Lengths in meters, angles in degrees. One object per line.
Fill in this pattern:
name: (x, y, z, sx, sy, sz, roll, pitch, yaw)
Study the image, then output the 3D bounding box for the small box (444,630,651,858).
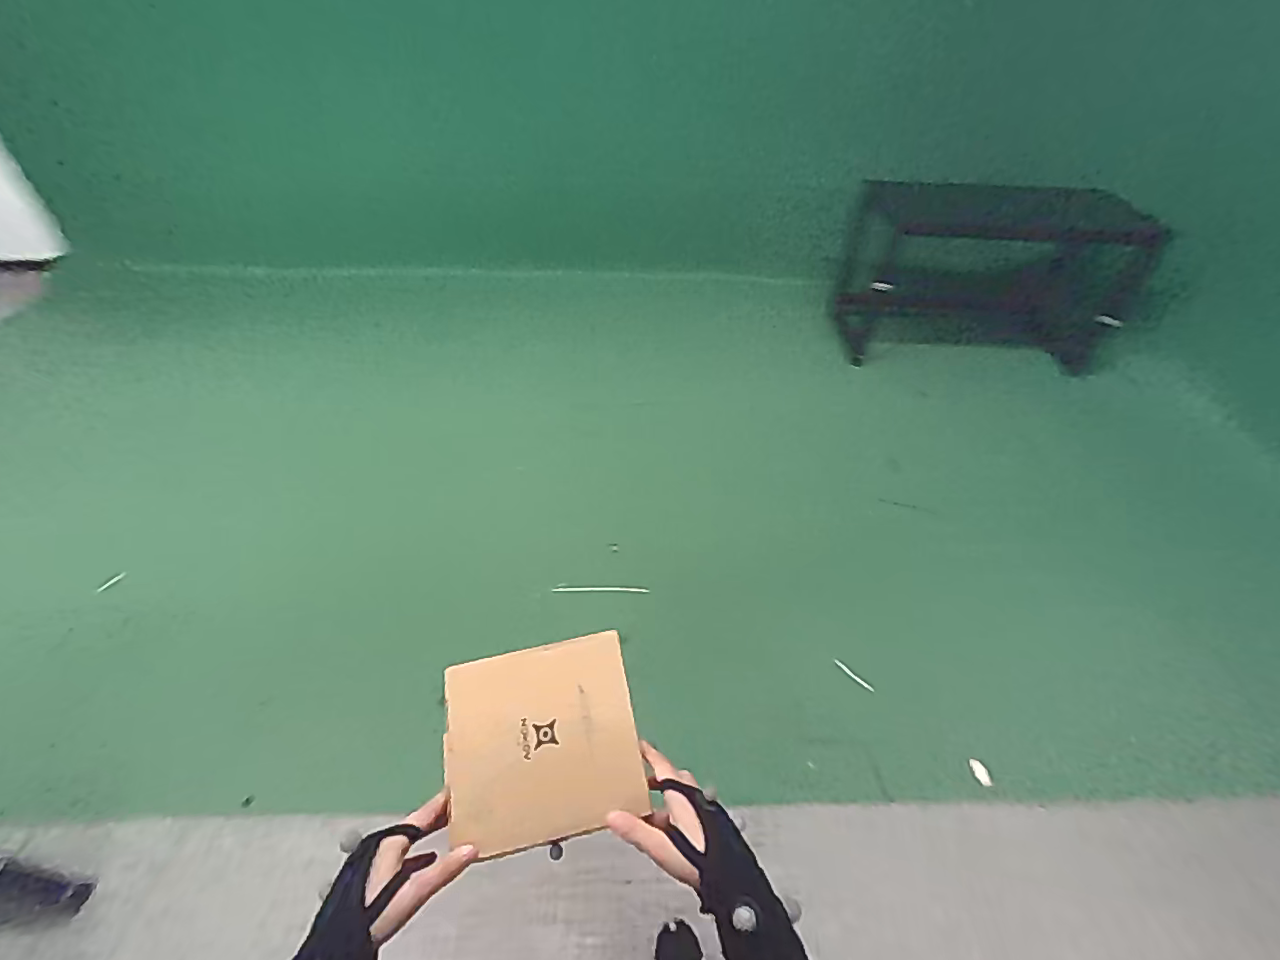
small box: (-0.091, 0.281, 0.571, 0.179, 0.176, 0.168, -12, 58, -6)
